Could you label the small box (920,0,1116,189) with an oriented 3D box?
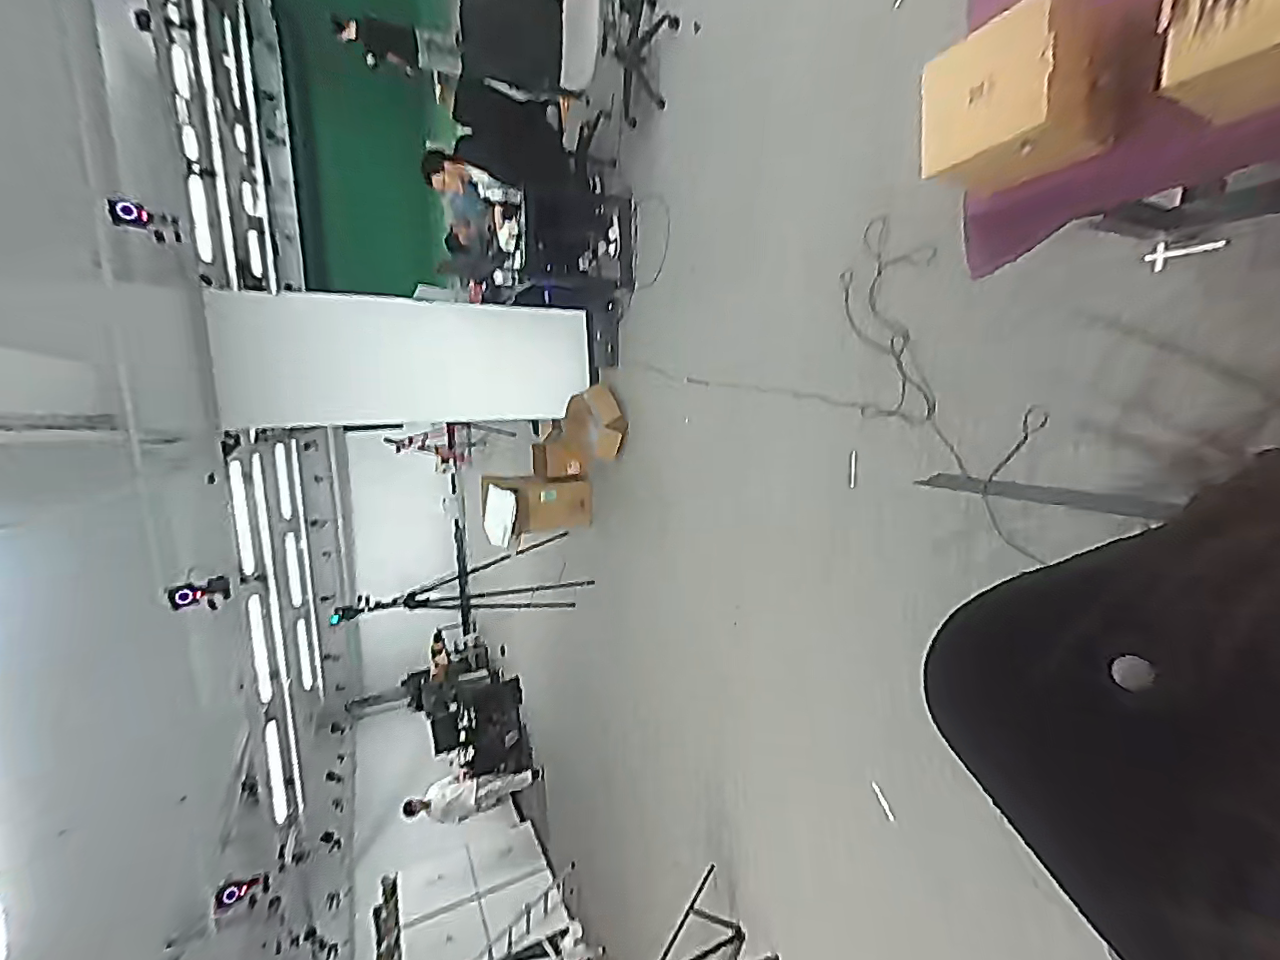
[{"bbox_3d":[0.538,-0.546,0.781,0.179,0.176,0.168,8,102,62],"label":"small box"}]
